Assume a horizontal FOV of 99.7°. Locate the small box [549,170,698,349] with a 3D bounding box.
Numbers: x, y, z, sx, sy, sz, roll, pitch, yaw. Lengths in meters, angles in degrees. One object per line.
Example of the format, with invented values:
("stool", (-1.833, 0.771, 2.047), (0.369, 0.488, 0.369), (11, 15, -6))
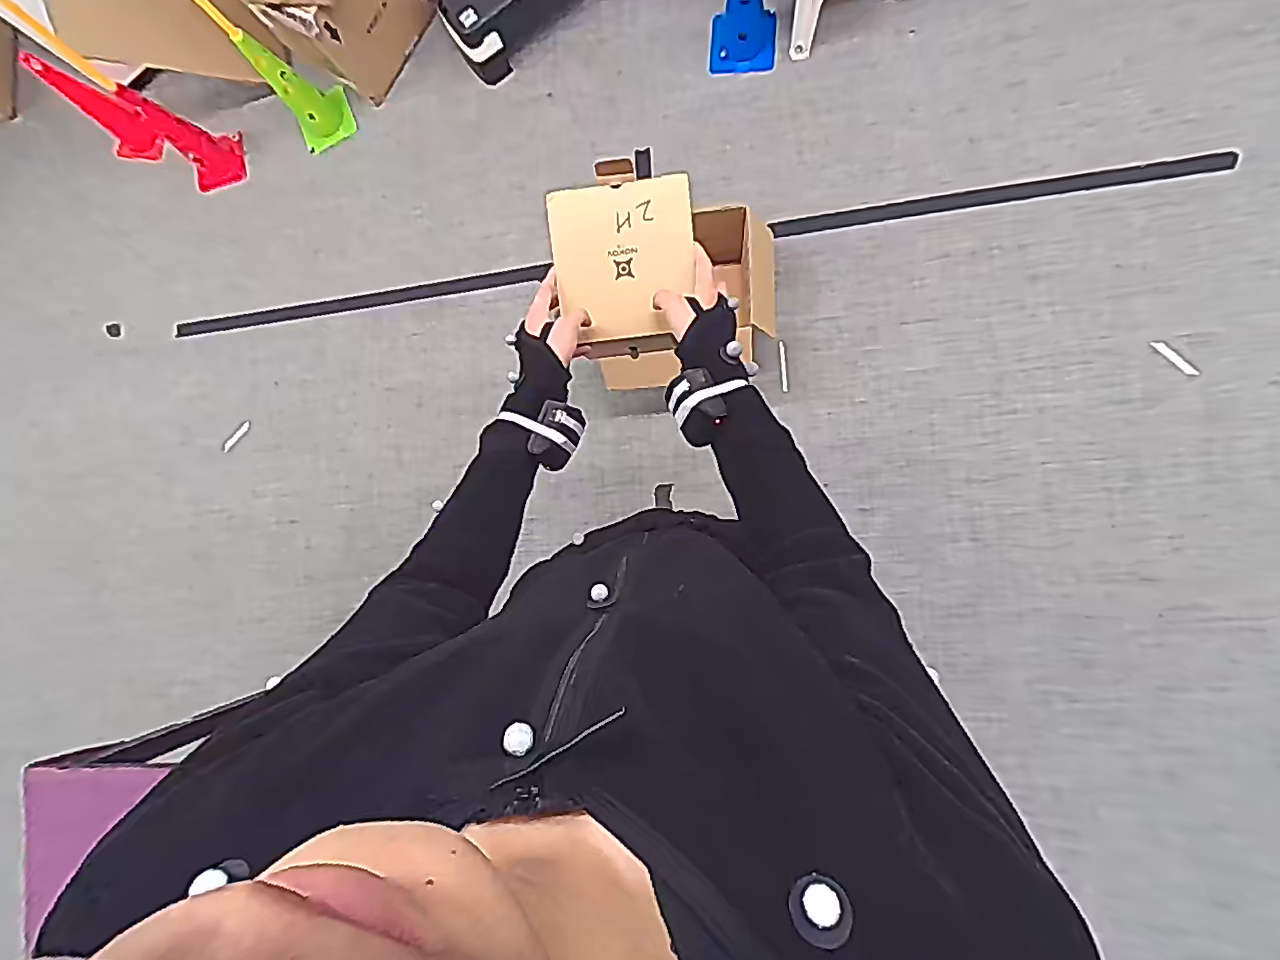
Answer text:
("small box", (-0.012, -0.269, 0.706), (0.168, 0.176, 0.179), (-5, 97, 5))
